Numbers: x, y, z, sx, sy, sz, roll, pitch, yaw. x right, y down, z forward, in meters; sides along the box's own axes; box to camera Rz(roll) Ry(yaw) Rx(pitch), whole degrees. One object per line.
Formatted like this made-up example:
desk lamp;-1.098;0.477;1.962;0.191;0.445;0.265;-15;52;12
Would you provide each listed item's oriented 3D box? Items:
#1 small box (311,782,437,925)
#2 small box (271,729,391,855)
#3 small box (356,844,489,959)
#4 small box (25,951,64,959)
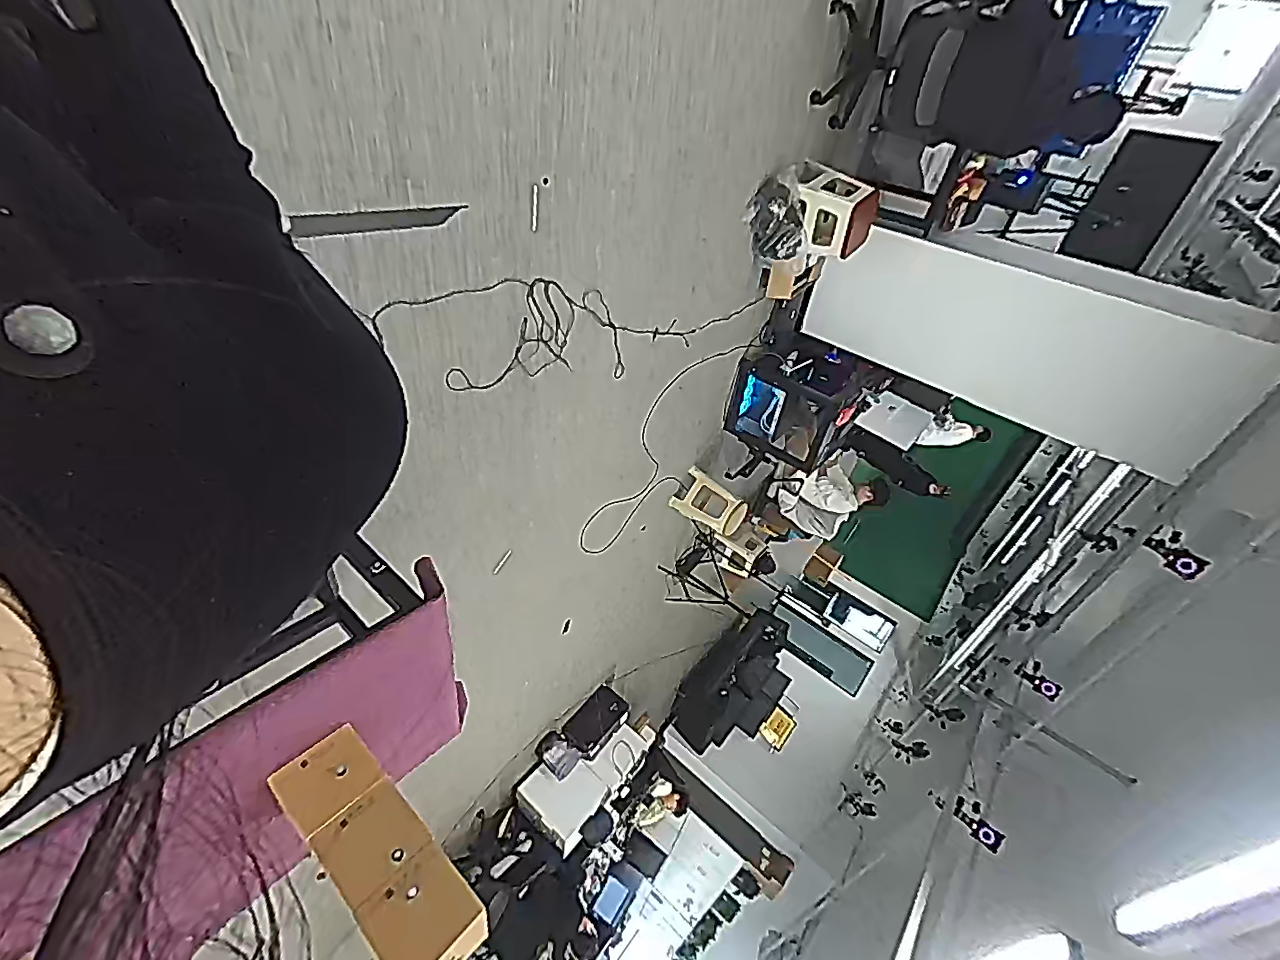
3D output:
small box;-0.528;0.757;1.093;0.168;0.176;0.179;-33;146;-42
small box;-0.653;0.673;1.160;0.168;0.176;0.179;-32;145;-43
small box;-0.405;0.836;1.018;0.168;0.176;0.179;-32;144;-43
small box;-0.970;0.889;0.833;0.168;0.176;0.179;-29;142;-47
